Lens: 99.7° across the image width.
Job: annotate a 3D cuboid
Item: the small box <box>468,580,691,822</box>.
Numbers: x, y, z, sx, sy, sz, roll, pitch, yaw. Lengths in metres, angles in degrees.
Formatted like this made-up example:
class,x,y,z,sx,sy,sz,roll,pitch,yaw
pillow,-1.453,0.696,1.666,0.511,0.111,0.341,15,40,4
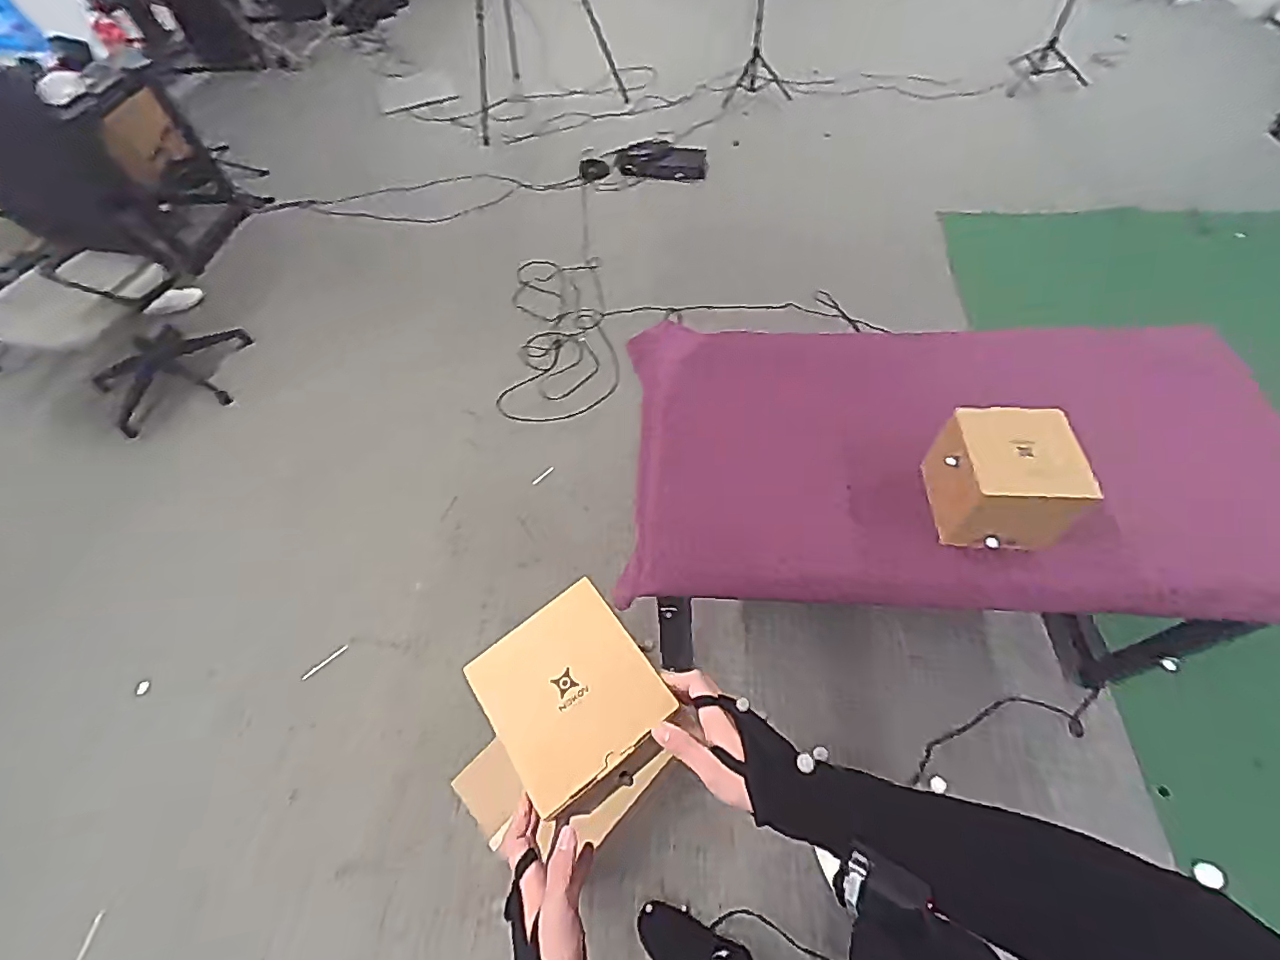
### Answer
class,x,y,z,sx,sy,sz,roll,pitch,yaw
small box,-0.058,0.250,0.611,0.168,0.176,0.179,-35,62,-11

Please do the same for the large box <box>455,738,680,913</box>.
class,x,y,z,sx,sy,sz,roll,pitch,yaw
large box,-0.146,0.702,1.277,0.320,0.320,0.408,37,65,25

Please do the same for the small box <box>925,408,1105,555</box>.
class,x,y,z,sx,sy,sz,roll,pitch,yaw
small box,0.592,0.003,0.887,0.168,0.176,0.179,2,55,7
